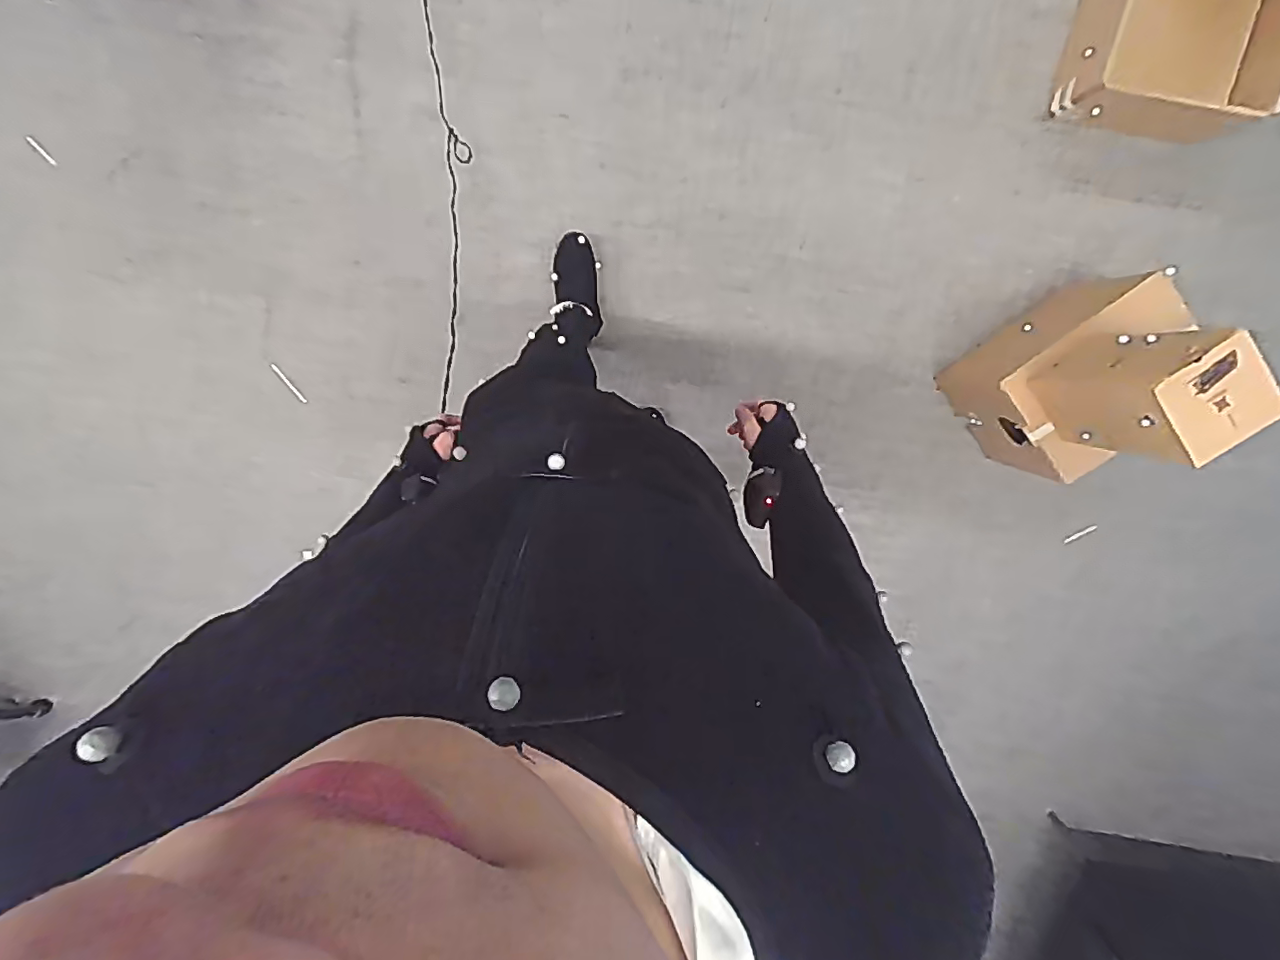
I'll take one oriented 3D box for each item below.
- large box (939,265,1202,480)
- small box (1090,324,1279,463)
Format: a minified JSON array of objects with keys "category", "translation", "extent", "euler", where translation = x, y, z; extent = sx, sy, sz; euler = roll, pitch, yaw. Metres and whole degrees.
[{"category":"large box","translation":[1.078,-0.262,1.371],"extent":[0.408,0.320,0.320],"euler":[-38,99,9]},{"category":"small box","translation":[0.980,-0.158,0.978],"extent":[0.168,0.176,0.179],"euler":[-36,99,10]}]
